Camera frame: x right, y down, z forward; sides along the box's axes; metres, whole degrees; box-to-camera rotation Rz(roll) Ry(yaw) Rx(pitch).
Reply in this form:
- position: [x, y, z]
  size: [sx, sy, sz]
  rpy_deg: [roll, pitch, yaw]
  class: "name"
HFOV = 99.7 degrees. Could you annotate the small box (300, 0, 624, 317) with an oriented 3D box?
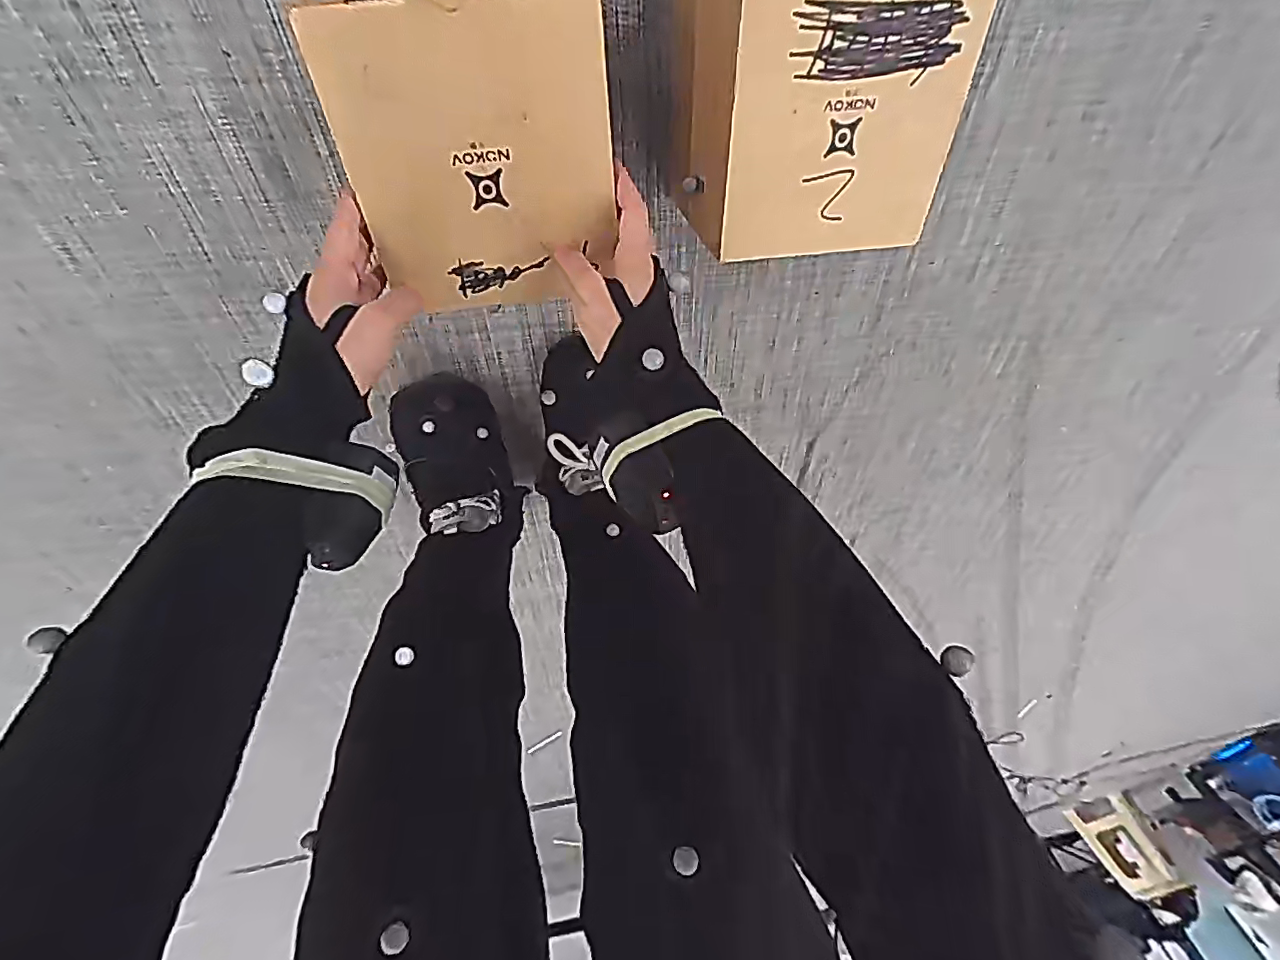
- position: [-0.110, -0.247, 0.400]
  size: [0.168, 0.176, 0.179]
  rpy_deg: [-9, 134, -6]
  class: "small box"
